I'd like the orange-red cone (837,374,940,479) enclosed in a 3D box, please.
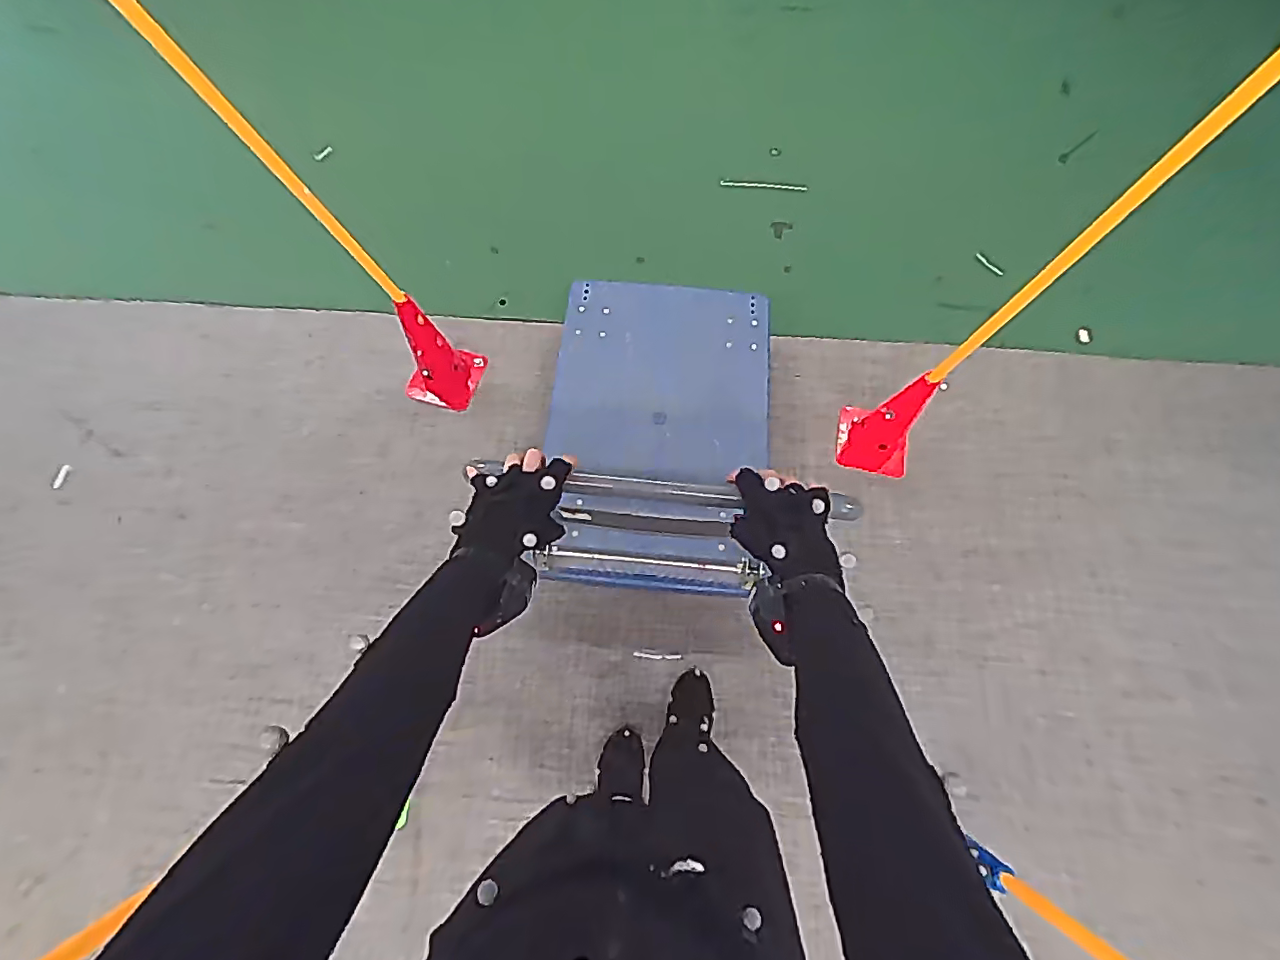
[{"bbox_3d":[0.689,-0.168,1.434,0.198,0.360,0.199,14,70,5],"label":"orange-red cone"}]
